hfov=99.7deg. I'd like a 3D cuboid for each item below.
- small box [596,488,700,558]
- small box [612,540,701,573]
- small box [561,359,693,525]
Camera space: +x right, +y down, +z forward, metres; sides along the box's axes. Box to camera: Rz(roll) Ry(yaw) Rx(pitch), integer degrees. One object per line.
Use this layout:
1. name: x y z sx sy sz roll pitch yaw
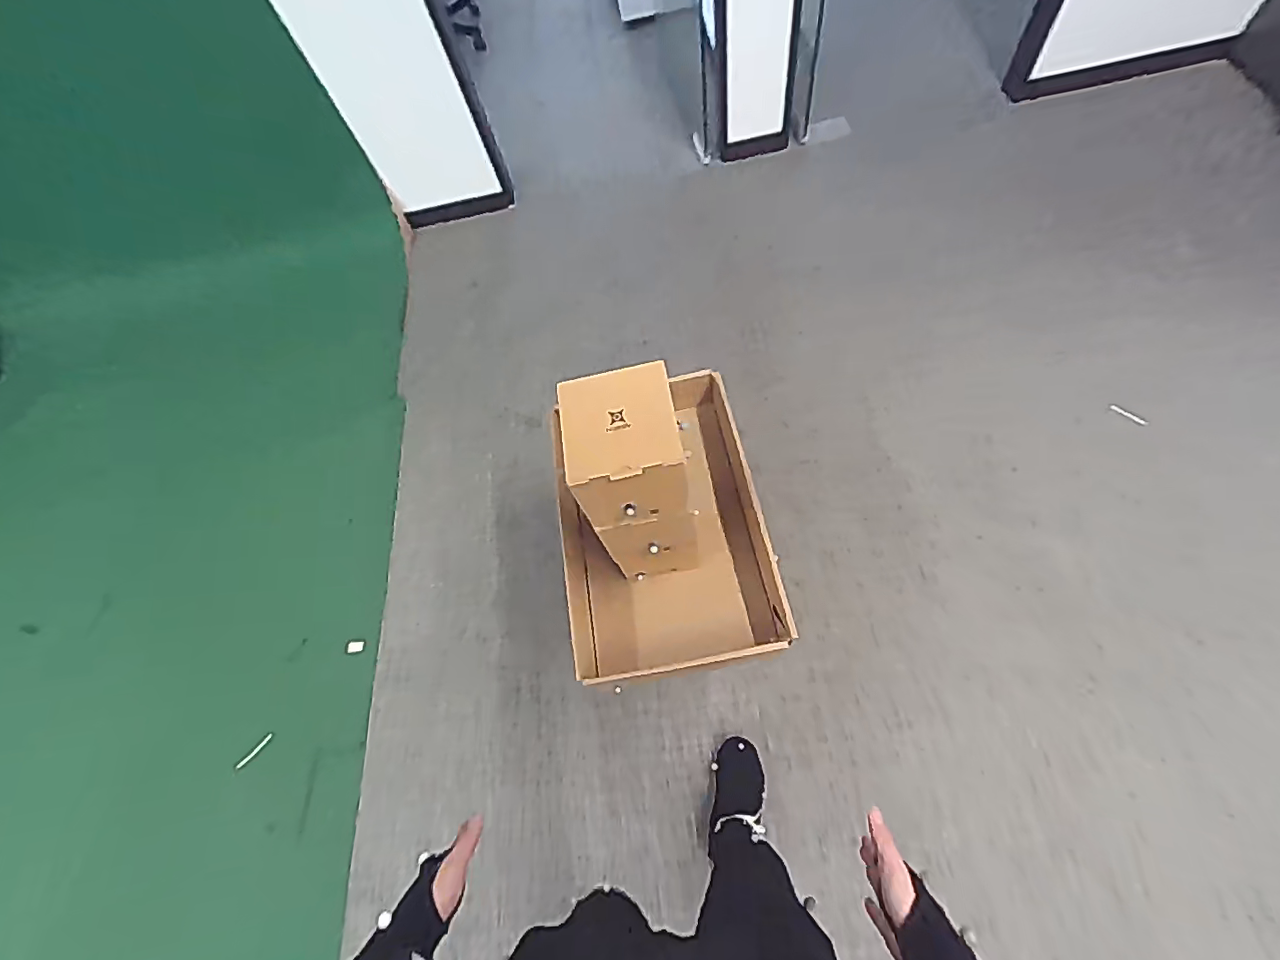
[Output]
1. small box: 0.009 0.022 0.970 0.168 0.176 0.179 -12 63 4
2. small box: 0.030 0.084 1.122 0.168 0.176 0.179 -10 62 4
3. small box: -0.016 -0.052 0.828 0.168 0.176 0.179 -12 63 3
